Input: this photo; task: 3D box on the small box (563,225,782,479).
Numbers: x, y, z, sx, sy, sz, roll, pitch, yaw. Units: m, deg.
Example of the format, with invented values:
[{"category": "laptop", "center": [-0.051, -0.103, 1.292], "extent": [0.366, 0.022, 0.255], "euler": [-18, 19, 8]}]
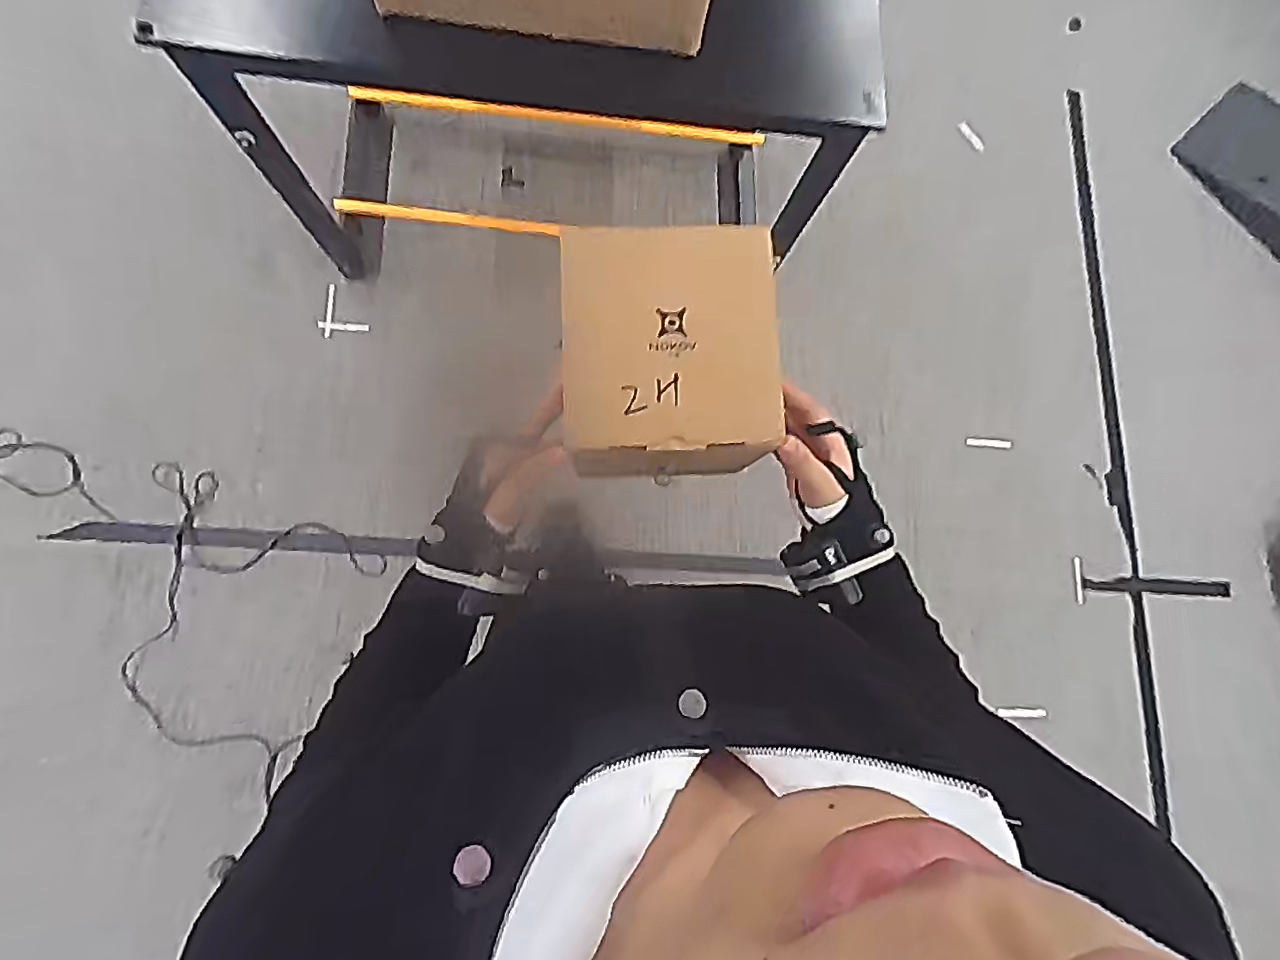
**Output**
[{"category": "small box", "center": [0.019, -0.102, 0.491], "extent": [0.168, 0.176, 0.179], "euler": [-2, 81, -2]}]
